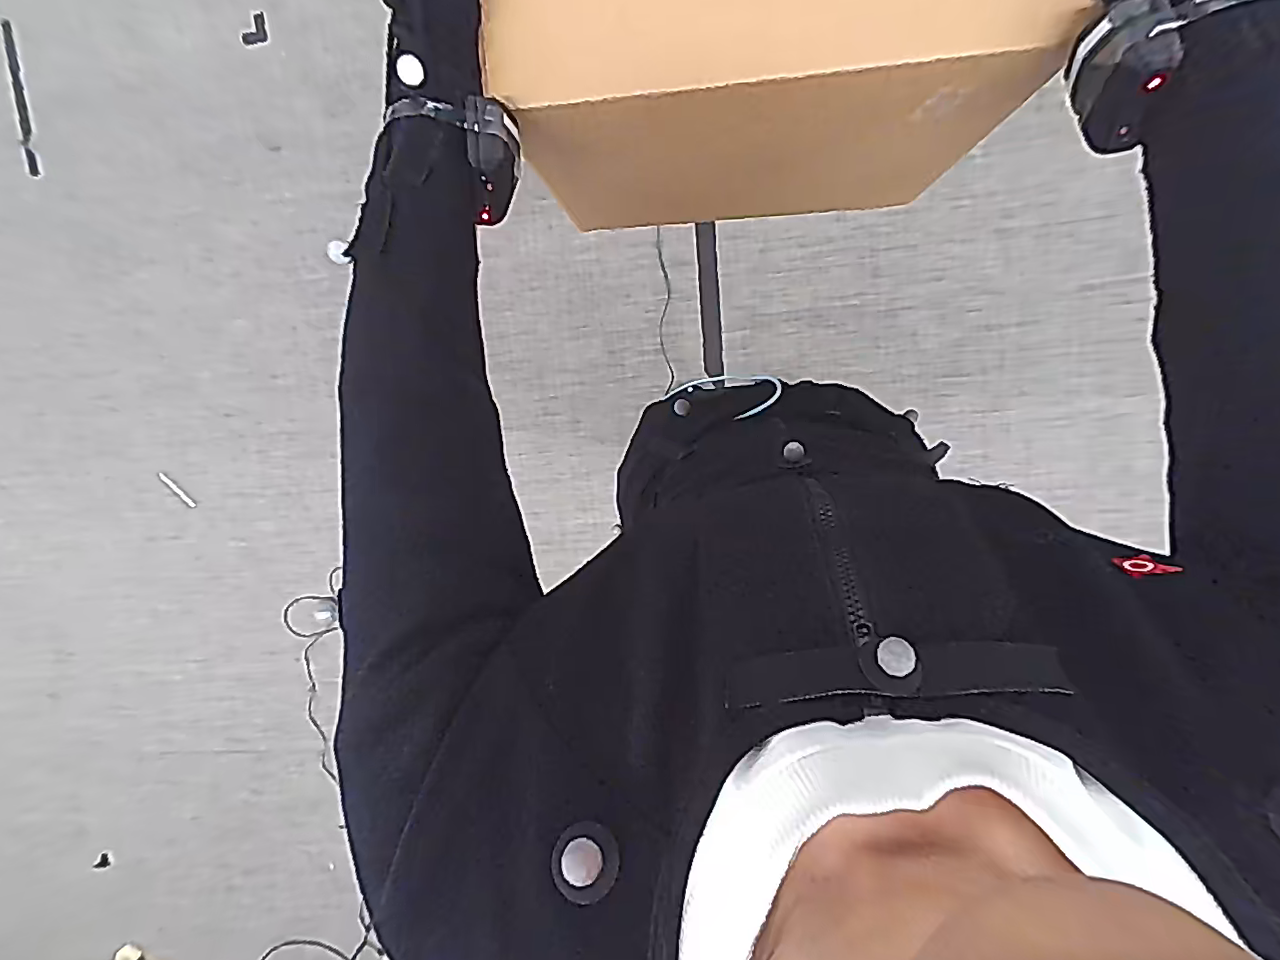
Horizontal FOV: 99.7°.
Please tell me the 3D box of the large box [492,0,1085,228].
[{"bbox_3d":[0.097,-0.455,0.499,0.408,0.320,0.320,-3,100,6],"label":"large box"}]
